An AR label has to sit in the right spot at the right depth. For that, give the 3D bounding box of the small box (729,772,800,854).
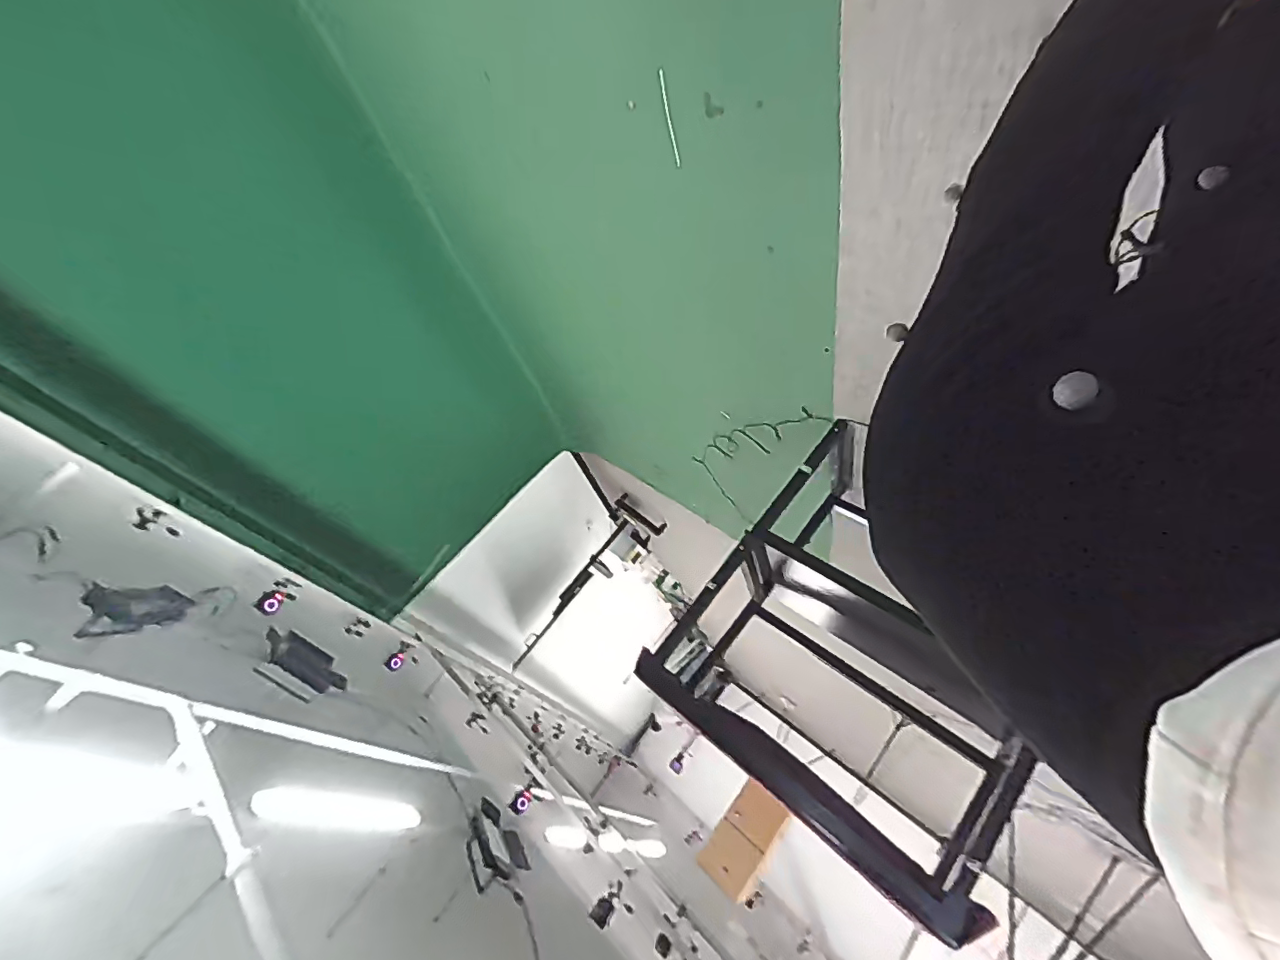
[{"bbox_3d":[0.439,1.151,1.869,0.179,0.176,0.168,31,161,35],"label":"small box"}]

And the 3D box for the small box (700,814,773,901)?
[{"bbox_3d":[0.334,1.270,1.826,0.179,0.176,0.168,31,161,34],"label":"small box"}]
